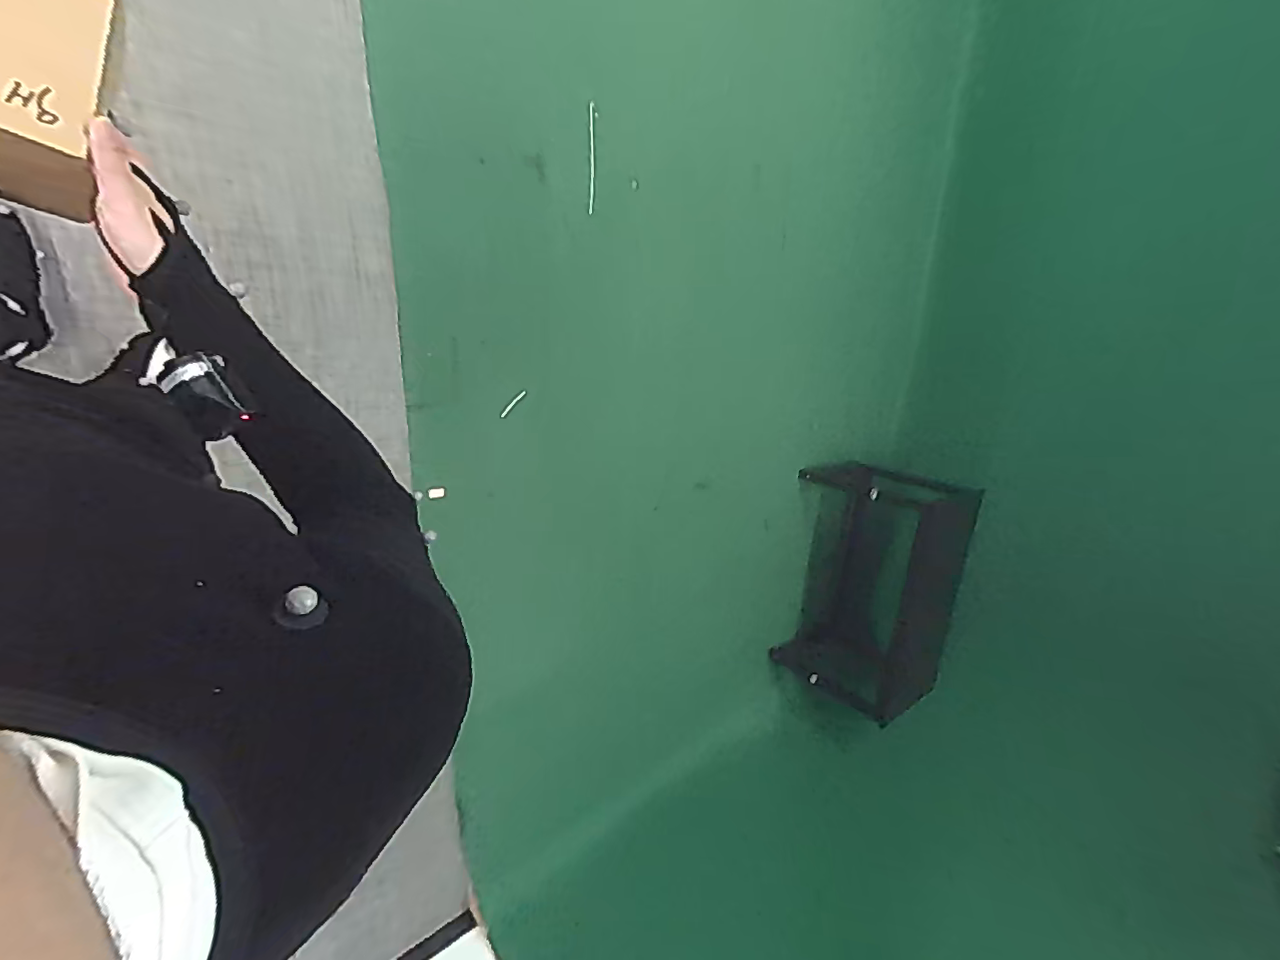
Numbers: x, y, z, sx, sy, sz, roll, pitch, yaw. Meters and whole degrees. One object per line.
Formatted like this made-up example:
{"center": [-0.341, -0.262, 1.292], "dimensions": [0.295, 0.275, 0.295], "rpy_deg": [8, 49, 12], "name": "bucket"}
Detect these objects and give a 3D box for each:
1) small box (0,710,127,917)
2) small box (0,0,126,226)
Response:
{"center": [-0.865, 0.474, 0.780], "dimensions": [0.168, 0.176, 0.179], "rpy_deg": [-9, 112, -41], "name": "small box"}
{"center": [-0.507, -0.324, 0.399], "dimensions": [0.168, 0.176, 0.179], "rpy_deg": [9, 86, -46], "name": "small box"}
